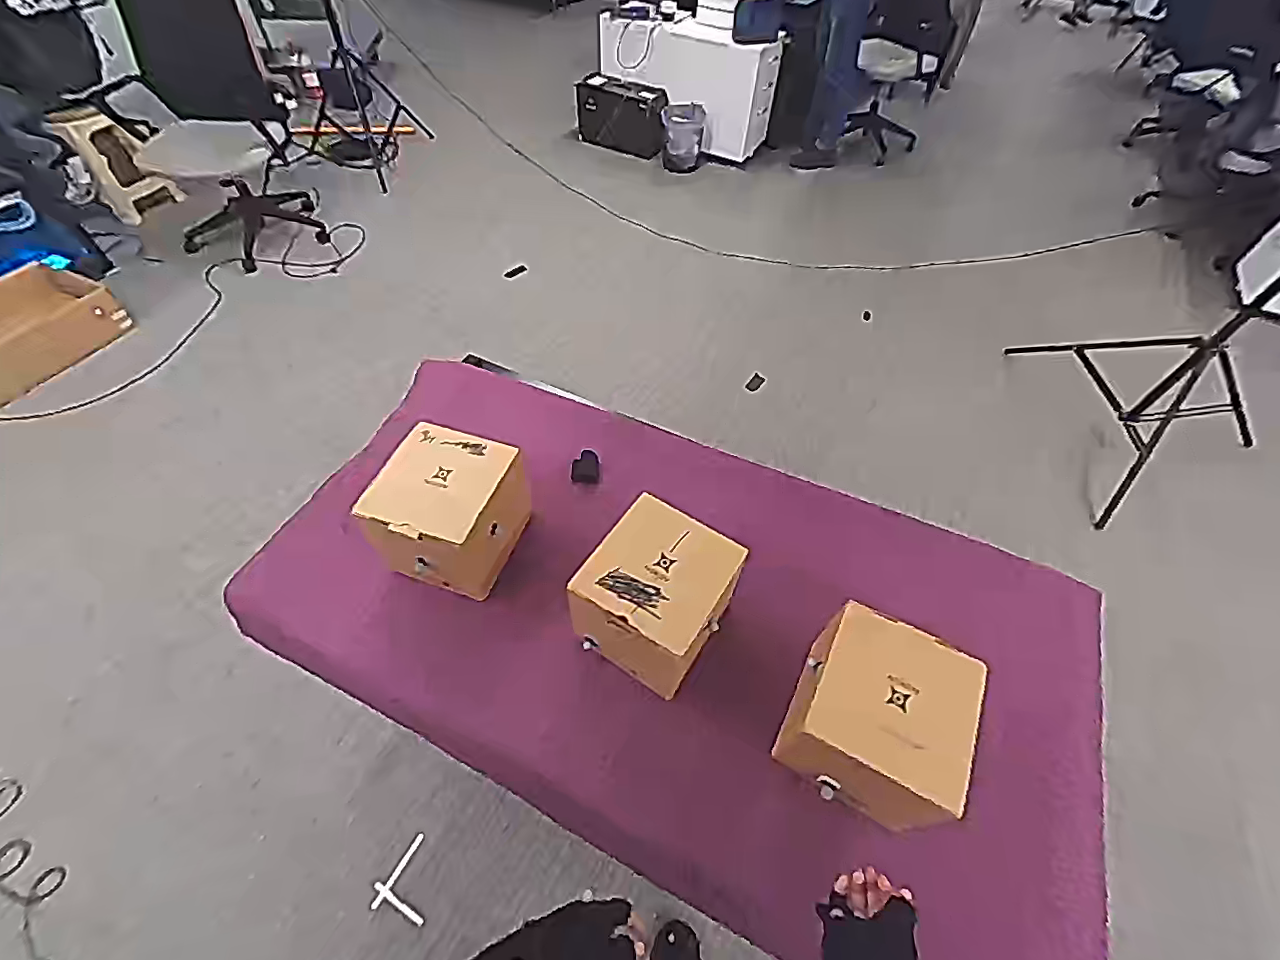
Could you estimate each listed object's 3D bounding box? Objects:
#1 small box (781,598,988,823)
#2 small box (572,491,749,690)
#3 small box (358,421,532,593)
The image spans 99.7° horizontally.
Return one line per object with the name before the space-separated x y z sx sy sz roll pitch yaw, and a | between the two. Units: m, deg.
small box | 0.289 0.284 0.663 0.168 0.176 0.179 24 56 17
small box | 0.028 0.156 0.746 0.168 0.176 0.179 29 56 18
small box | -0.275 0.045 0.815 0.168 0.176 0.179 16 54 9
